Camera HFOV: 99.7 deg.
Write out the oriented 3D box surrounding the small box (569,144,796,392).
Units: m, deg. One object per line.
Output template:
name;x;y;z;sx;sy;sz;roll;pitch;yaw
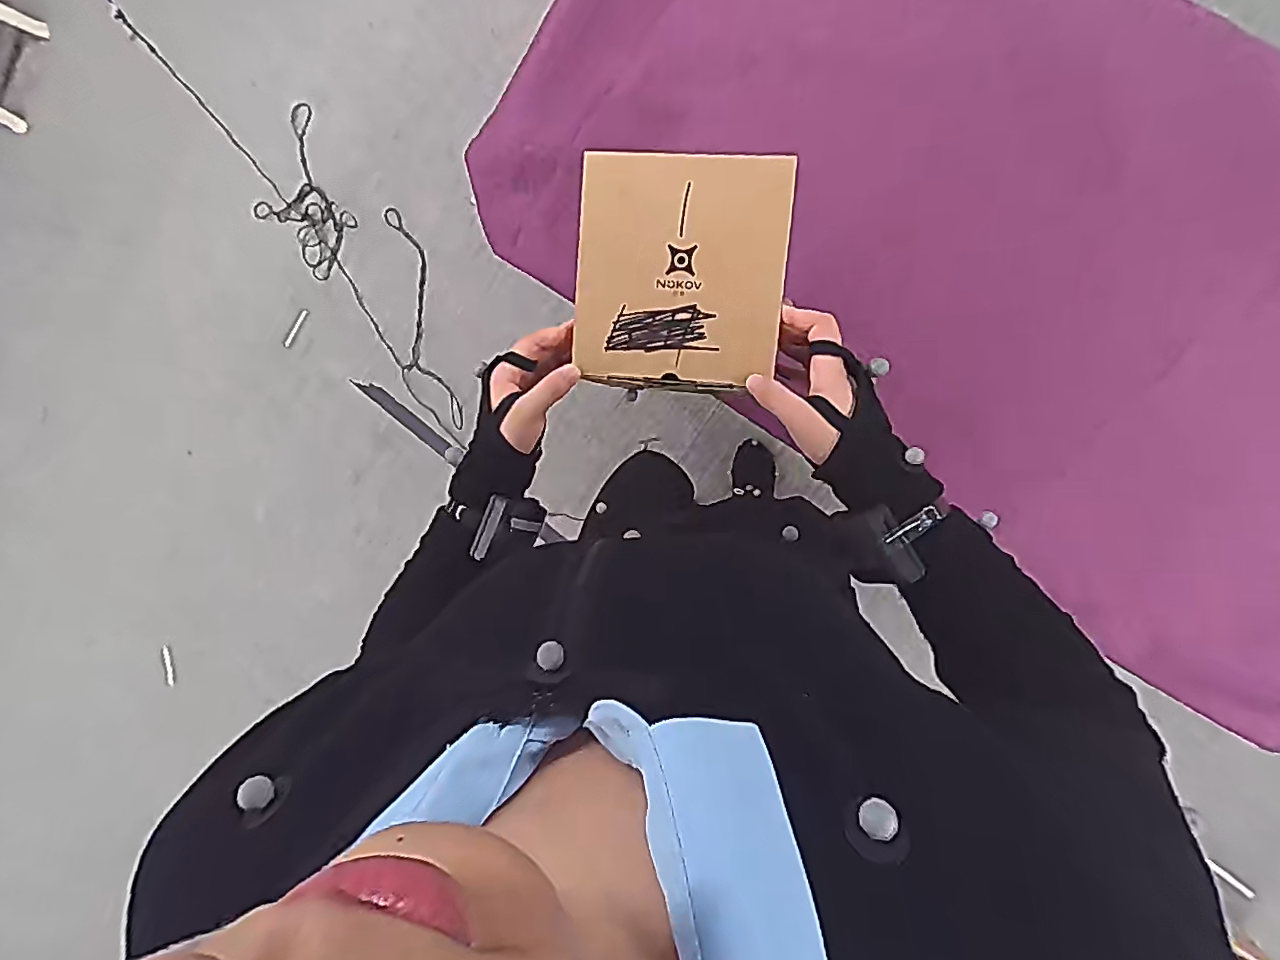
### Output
small box;0.040;-0.177;0.502;0.168;0.176;0.179;6;96;6
